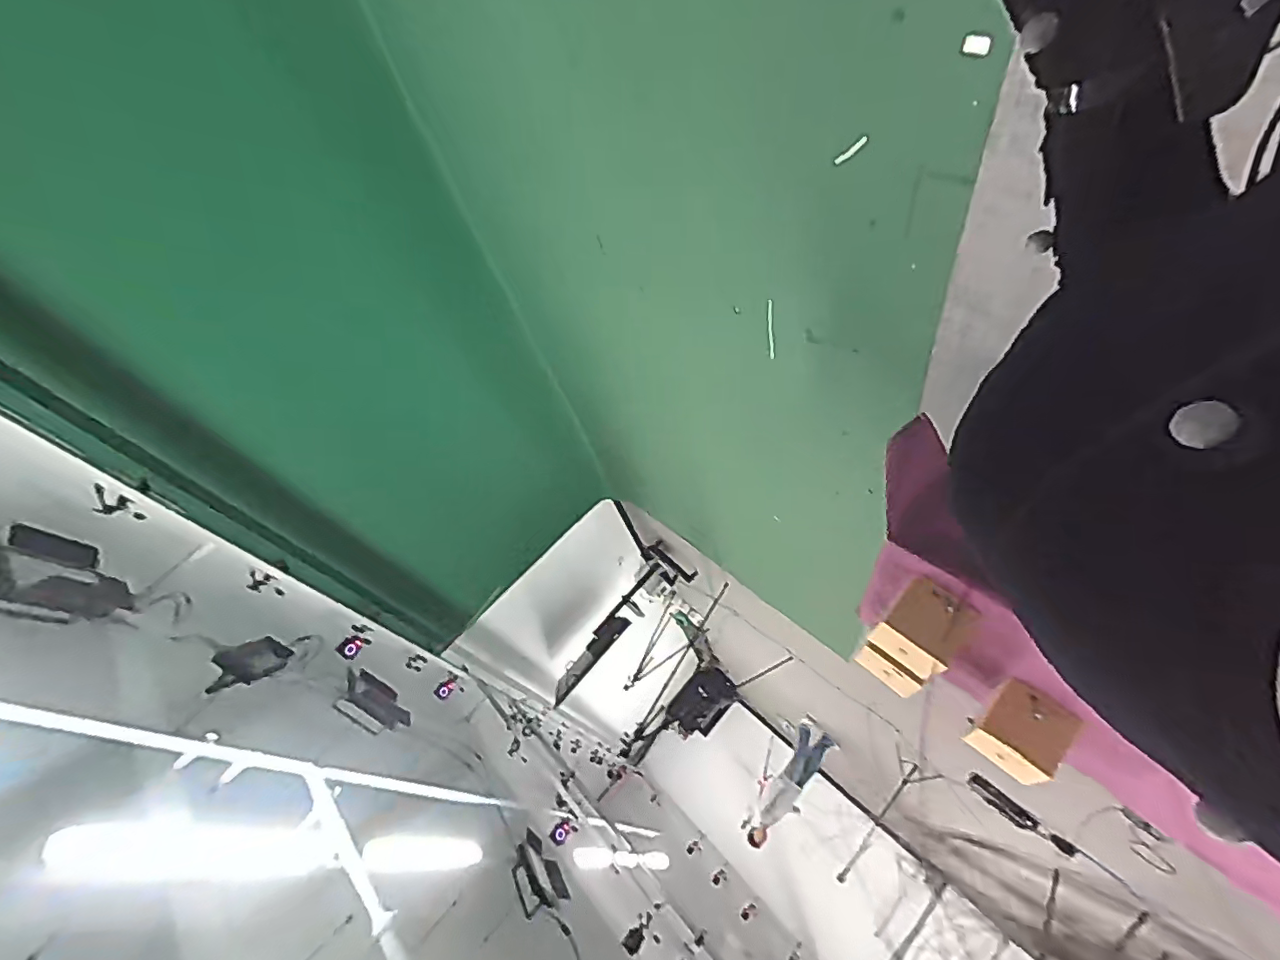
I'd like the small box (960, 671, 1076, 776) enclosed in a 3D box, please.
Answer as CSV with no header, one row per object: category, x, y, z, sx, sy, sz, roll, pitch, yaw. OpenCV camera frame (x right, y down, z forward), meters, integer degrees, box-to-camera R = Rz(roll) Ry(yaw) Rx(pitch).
small box,0.969,0.624,1.390,0.168,0.176,0.179,35,161,30

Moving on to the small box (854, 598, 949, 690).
small box,0.748,0.470,1.549,0.168,0.176,0.179,36,163,26
